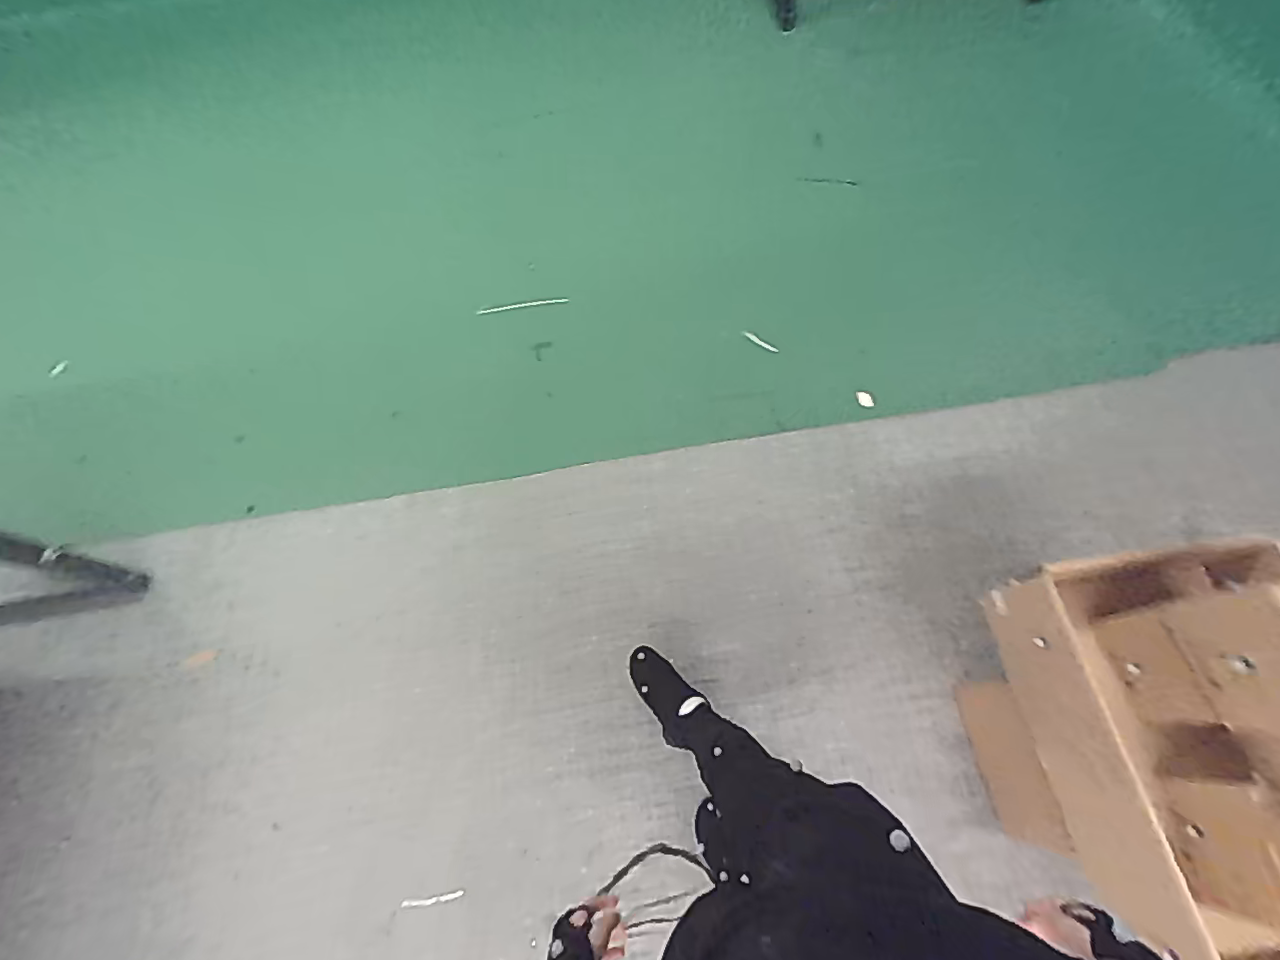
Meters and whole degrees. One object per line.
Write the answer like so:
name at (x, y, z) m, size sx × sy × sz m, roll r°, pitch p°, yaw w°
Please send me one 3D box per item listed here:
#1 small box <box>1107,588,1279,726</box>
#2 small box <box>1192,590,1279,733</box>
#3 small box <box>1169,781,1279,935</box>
small box at (0.896, 0.274, 0.834) m, size 0.179 × 0.176 × 0.168 m, roll -11°, pitch 66°, yaw 0°
small box at (0.871, 0.219, 0.681) m, size 0.179 × 0.176 × 0.168 m, roll -11°, pitch 67°, yaw 0°
small box at (0.895, 0.513, 0.731) m, size 0.179 × 0.176 × 0.168 m, roll 1°, pitch 67°, yaw 6°
